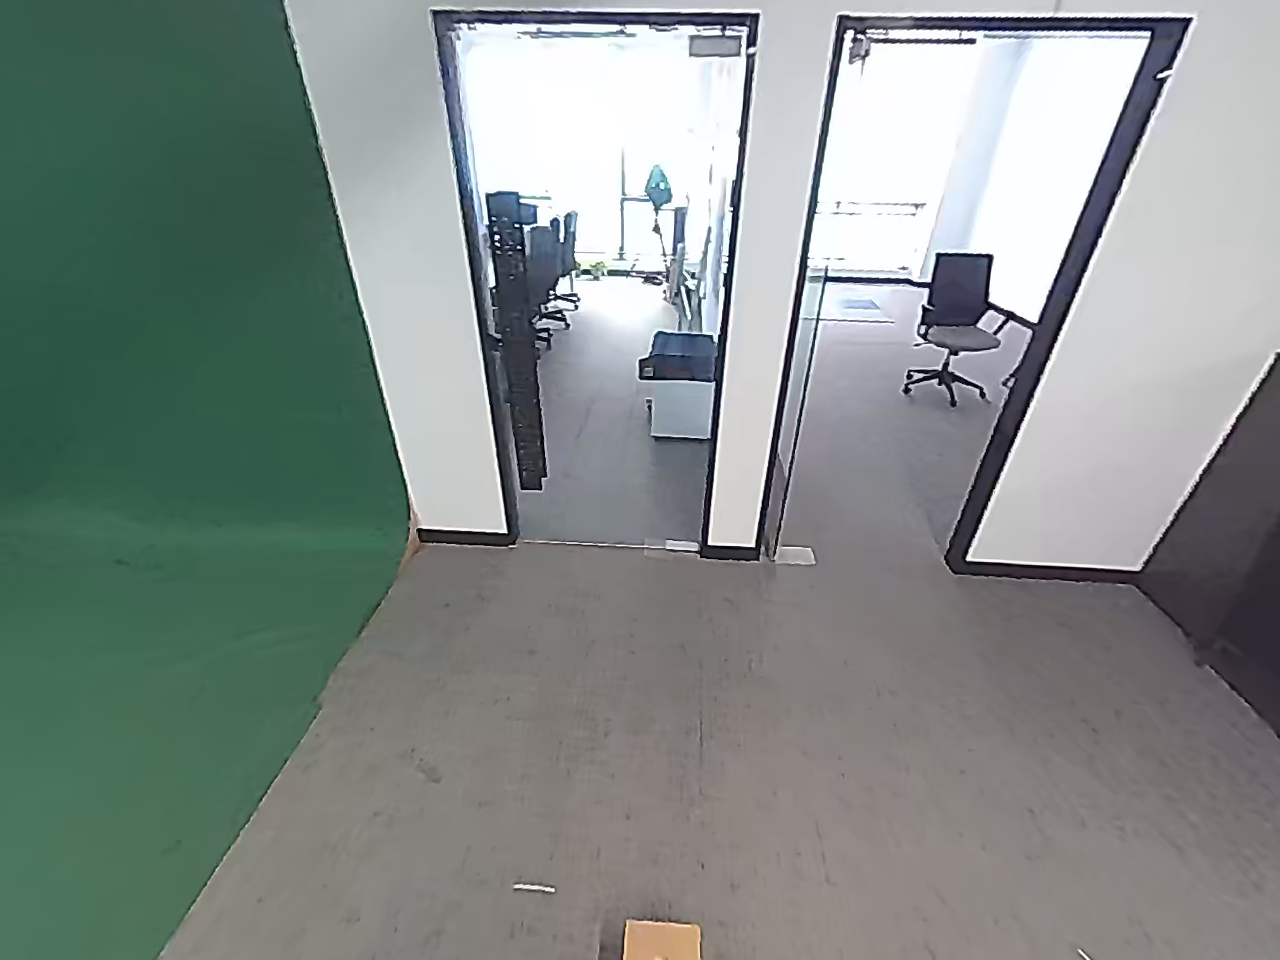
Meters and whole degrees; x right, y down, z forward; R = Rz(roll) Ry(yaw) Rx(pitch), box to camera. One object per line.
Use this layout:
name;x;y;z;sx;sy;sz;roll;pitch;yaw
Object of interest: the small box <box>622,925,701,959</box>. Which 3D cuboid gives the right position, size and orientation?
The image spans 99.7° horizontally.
small box;0.045;1.138;1.208;0.179;0.176;0.168;4;31;3
